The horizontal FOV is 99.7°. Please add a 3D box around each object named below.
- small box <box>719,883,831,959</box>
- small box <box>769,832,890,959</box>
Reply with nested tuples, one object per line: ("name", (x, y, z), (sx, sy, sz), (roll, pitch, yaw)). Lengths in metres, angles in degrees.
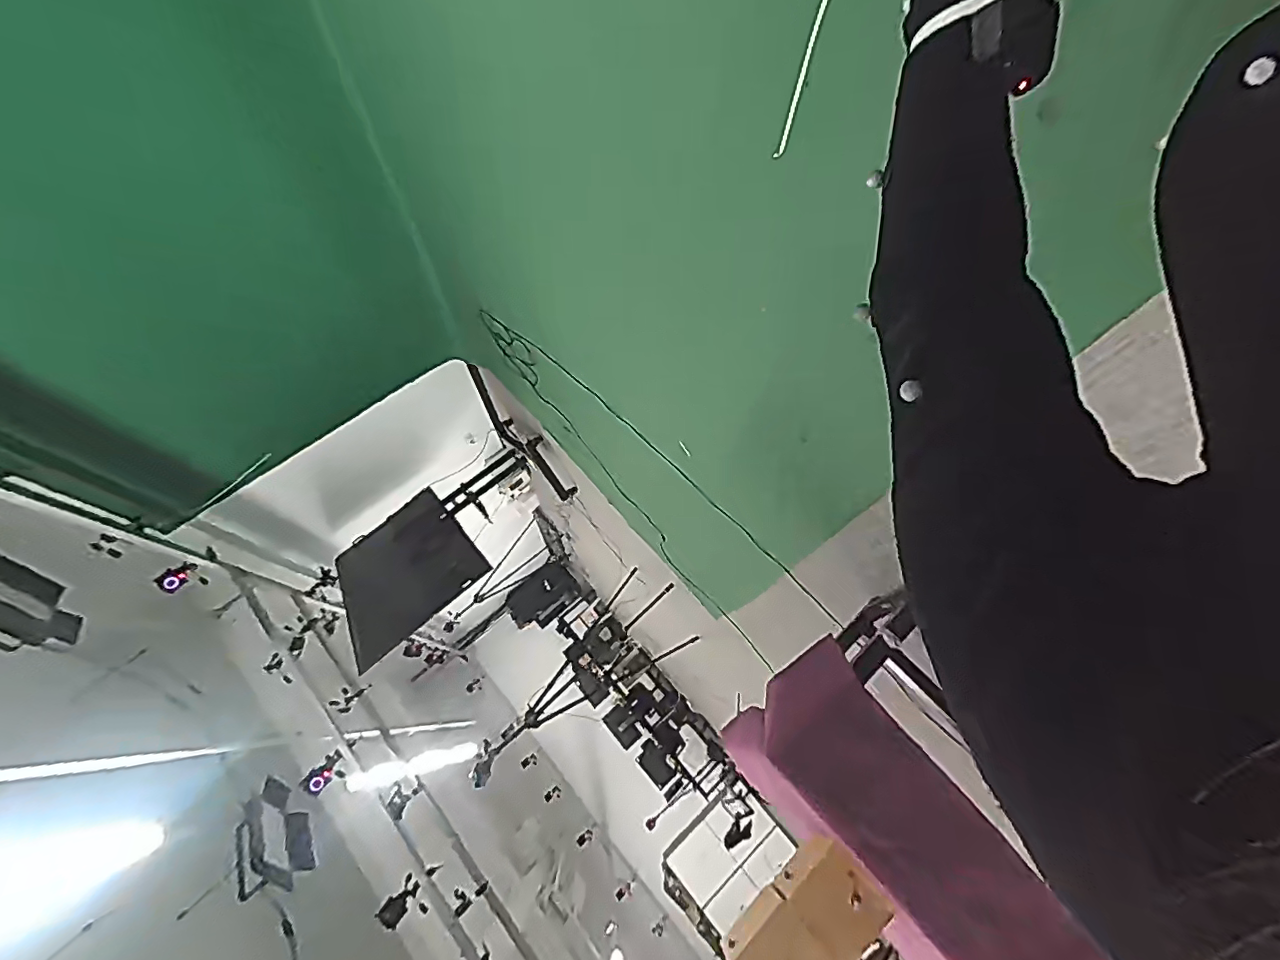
("small box", (0.296, 1.023, 1.158), (0.179, 0.176, 0.168), (44, 161, 20))
("small box", (0.421, 0.927, 1.208), (0.168, 0.176, 0.179), (45, 161, 20))
